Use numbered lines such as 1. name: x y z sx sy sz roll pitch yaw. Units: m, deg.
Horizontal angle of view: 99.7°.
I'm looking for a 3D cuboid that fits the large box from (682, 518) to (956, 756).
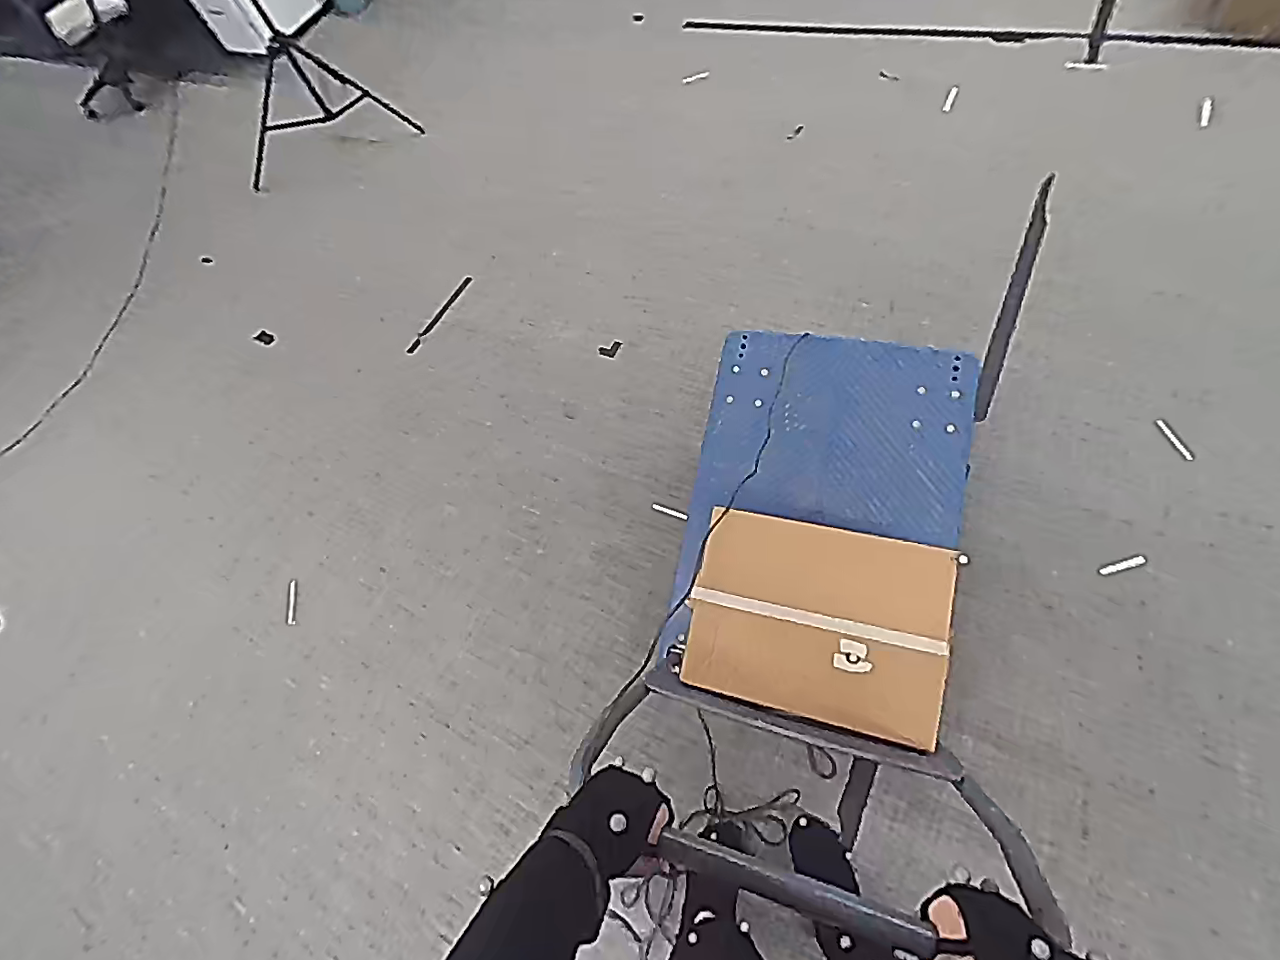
1. large box: 0.318 0.274 1.029 0.408 0.320 0.320 10 81 15
